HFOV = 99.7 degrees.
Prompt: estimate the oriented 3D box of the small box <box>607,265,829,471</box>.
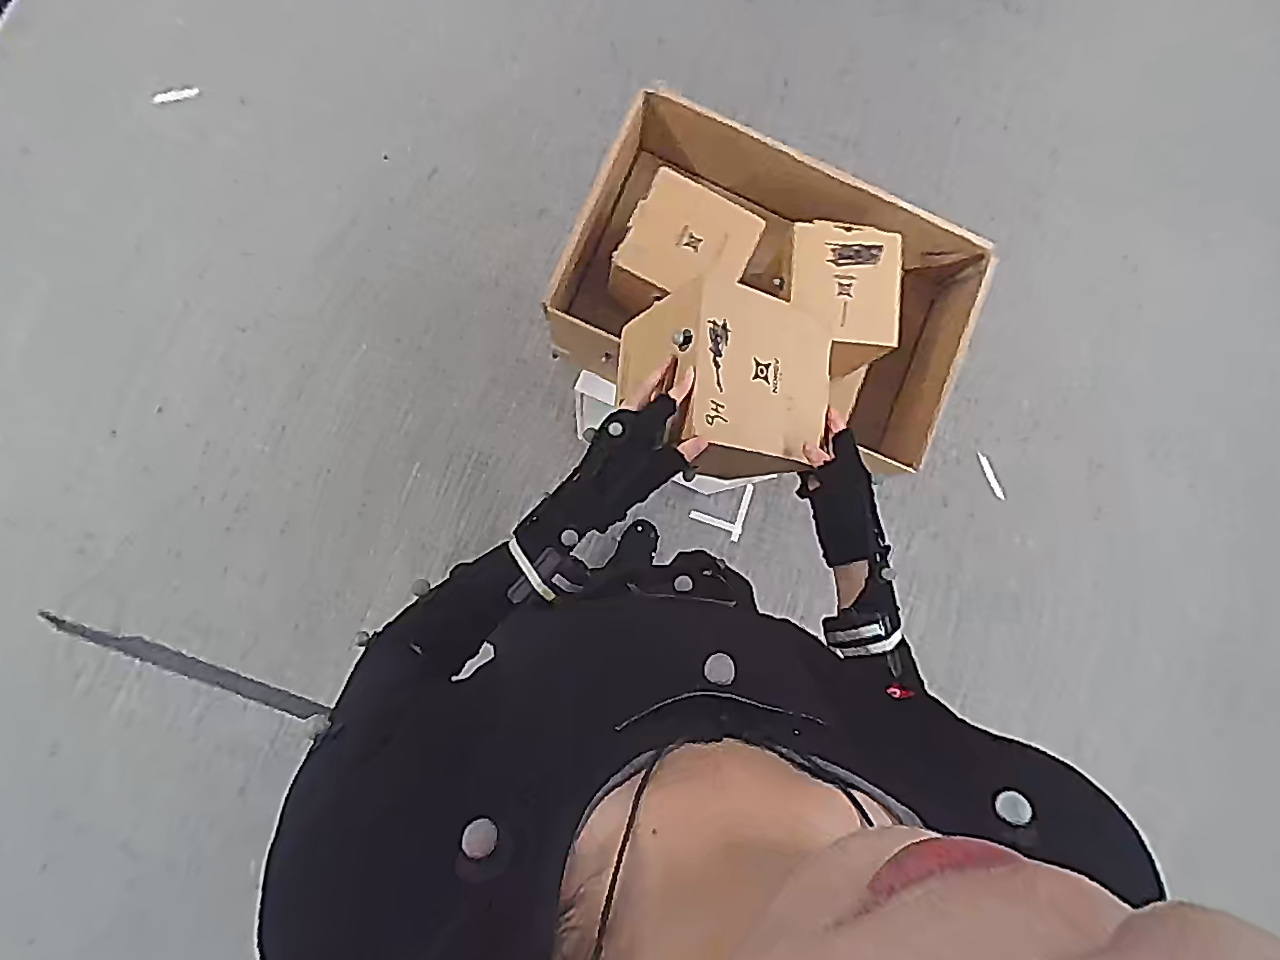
[{"bbox_3d":[0.084,-0.105,0.606,0.179,0.176,0.168,9,81,-31],"label":"small box"}]
